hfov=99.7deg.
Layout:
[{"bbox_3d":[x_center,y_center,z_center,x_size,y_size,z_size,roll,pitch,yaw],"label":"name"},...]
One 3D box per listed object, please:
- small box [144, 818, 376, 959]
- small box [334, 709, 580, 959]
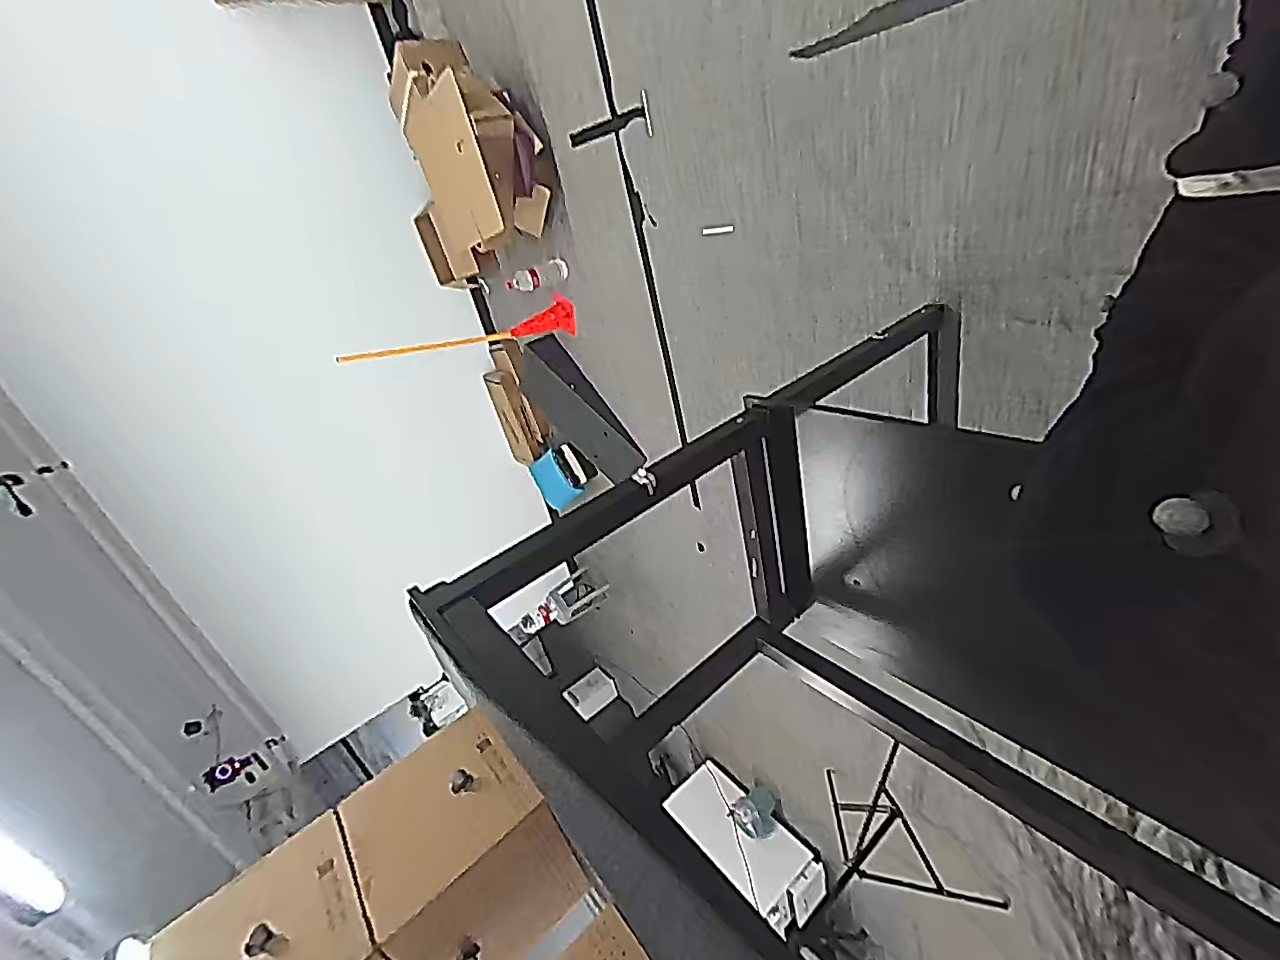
[{"bbox_3d":[-0.311,0.467,0.502,0.168,0.176,0.179,25,137,48],"label":"small box"},{"bbox_3d":[-0.186,0.392,0.576,0.168,0.176,0.179,23,136,47],"label":"small box"}]
